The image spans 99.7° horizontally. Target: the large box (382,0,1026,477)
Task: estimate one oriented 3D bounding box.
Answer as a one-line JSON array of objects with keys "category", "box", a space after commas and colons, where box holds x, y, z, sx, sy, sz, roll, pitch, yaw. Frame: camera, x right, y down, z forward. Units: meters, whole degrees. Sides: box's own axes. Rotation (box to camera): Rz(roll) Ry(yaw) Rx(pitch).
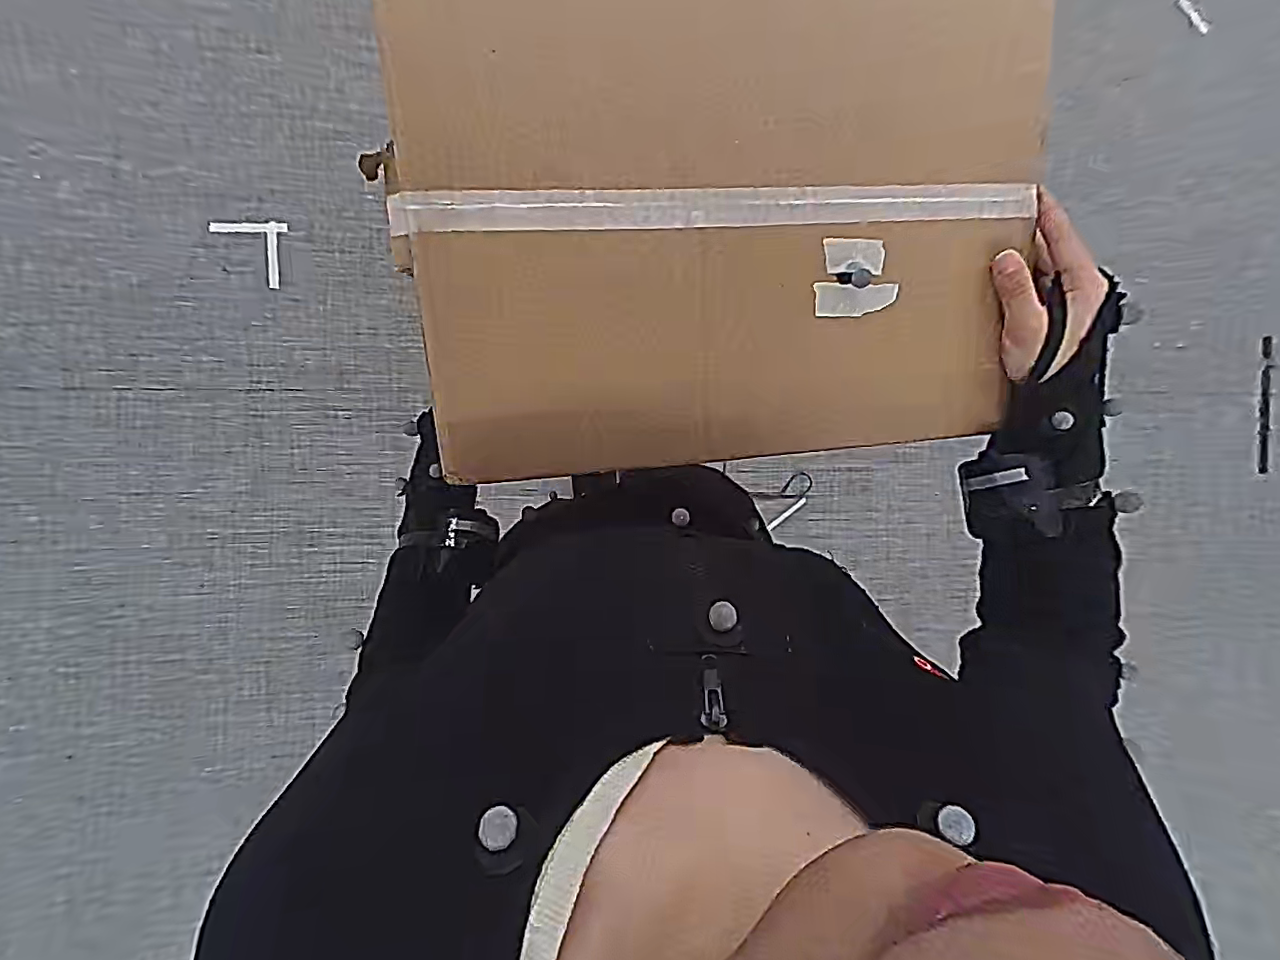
[{"category": "large box", "box": [0.035, -0.204, 0.485, 0.408, 0.320, 0.320, -7, 104, -11]}]
